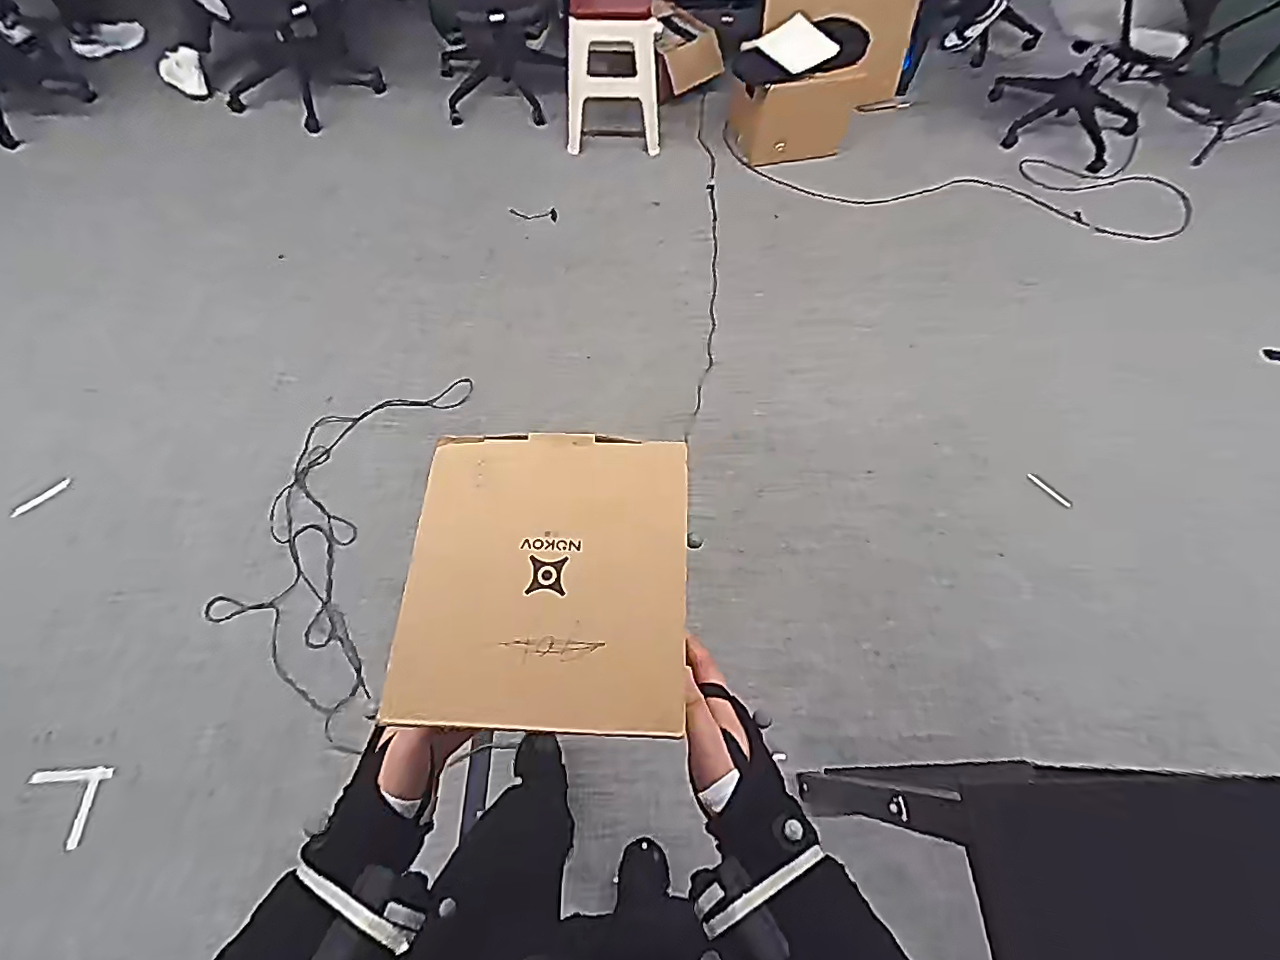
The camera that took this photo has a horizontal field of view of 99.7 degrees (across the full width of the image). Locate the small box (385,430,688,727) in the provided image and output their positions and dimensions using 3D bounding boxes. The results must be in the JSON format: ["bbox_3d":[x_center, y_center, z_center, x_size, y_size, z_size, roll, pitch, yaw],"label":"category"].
[{"bbox_3d":[-0.055,0.082,0.399,0.168,0.176,0.179,2,67,2],"label":"small box"}]
